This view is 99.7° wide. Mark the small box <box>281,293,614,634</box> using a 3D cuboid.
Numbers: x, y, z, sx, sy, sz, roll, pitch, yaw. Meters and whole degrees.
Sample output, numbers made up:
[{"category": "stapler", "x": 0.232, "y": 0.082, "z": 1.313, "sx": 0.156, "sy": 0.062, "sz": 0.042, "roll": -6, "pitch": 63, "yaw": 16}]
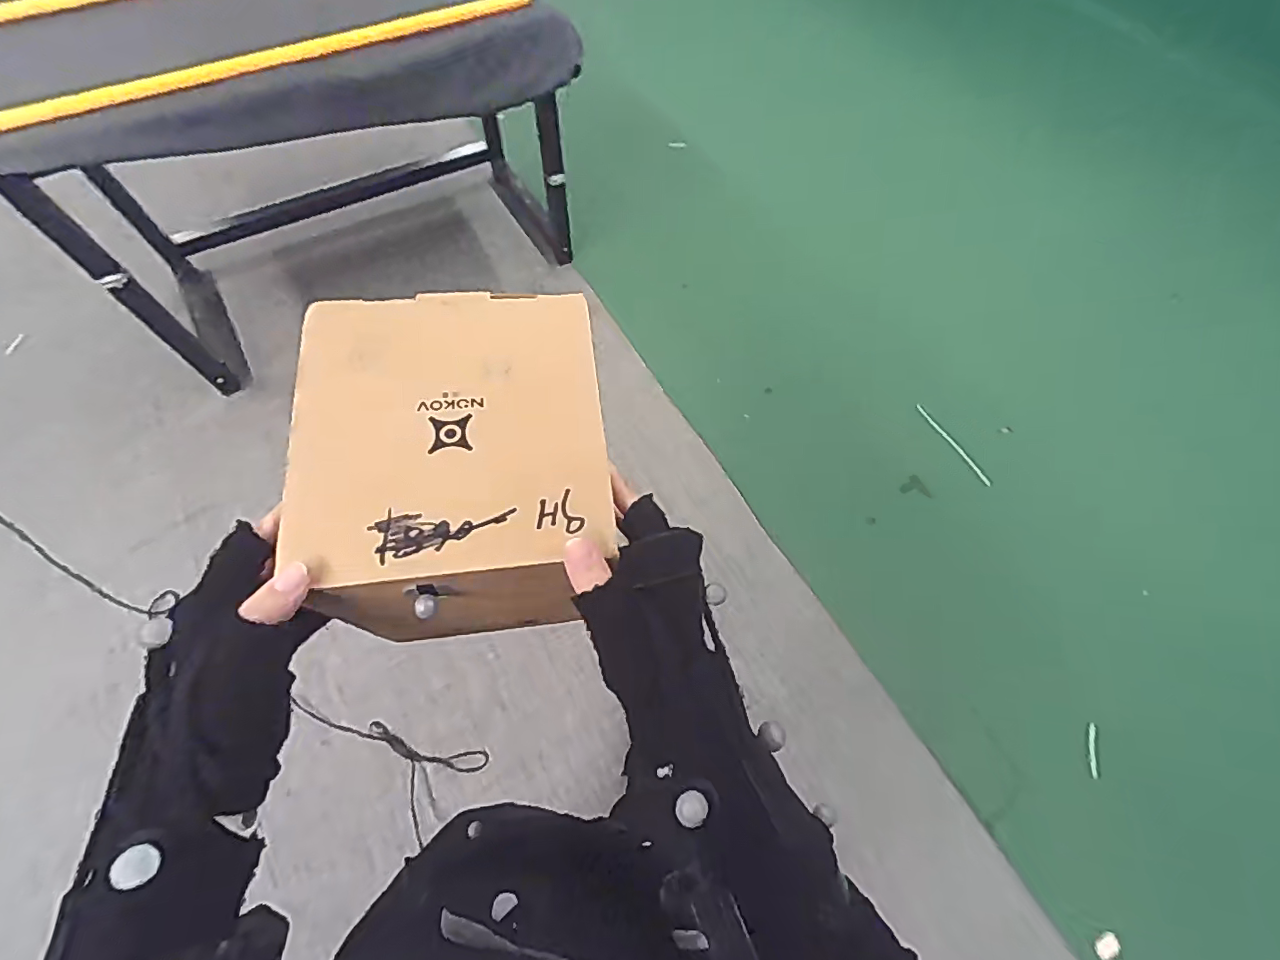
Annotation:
[{"category": "small box", "x": -0.112, "y": -0.003, "z": 0.380, "sx": 0.168, "sy": 0.176, "sz": 0.179, "roll": -6, "pitch": 65, "yaw": -7}]
